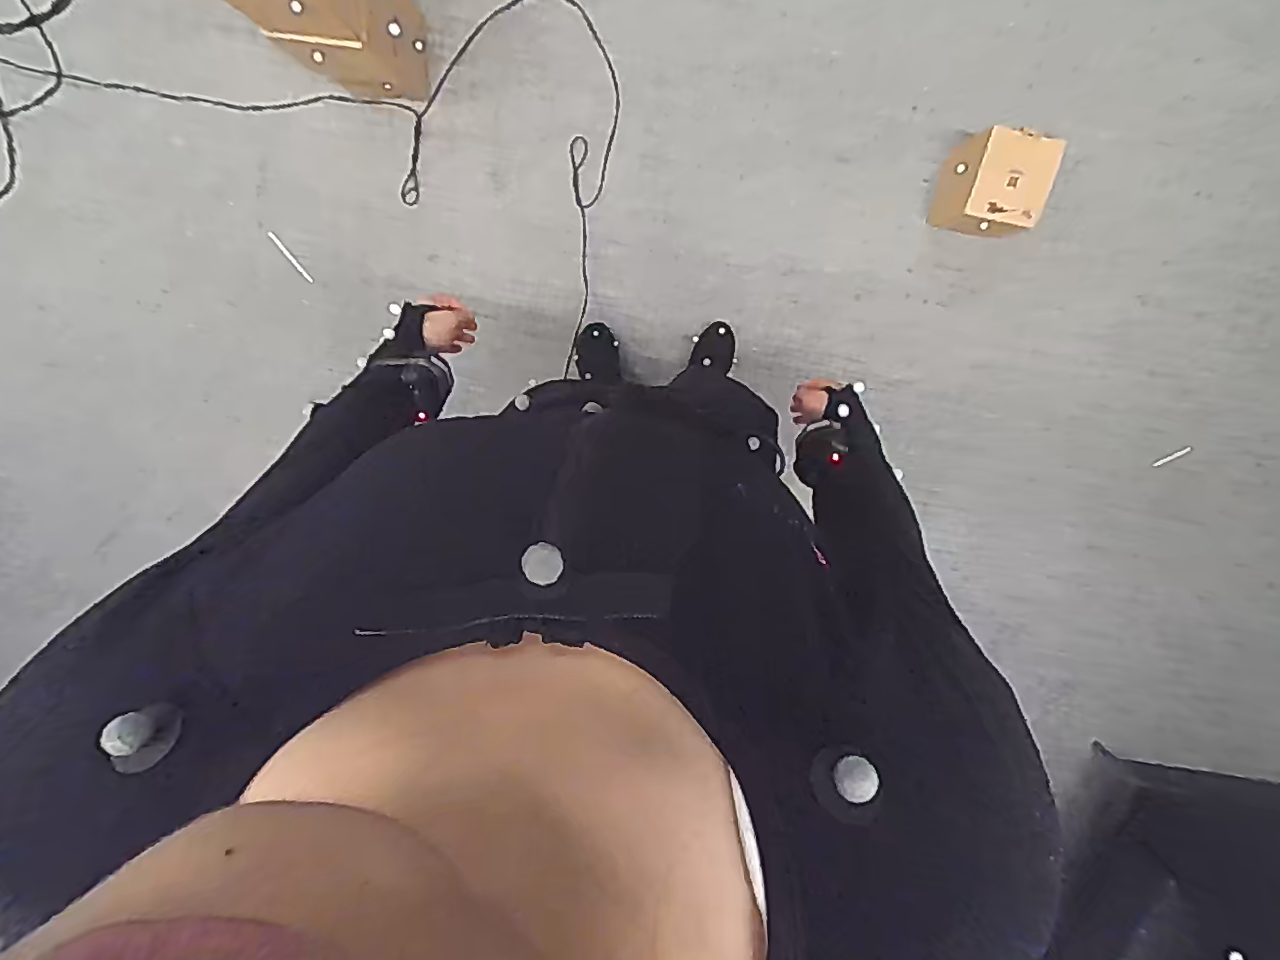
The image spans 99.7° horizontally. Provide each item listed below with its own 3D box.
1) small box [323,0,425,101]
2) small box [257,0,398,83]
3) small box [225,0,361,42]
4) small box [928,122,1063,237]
[{"bbox_3d":[-0.567,-0.923,1.136,0.179,0.176,0.168,2,107,0],"label":"small box"},{"bbox_3d":[-0.564,-0.856,0.986,0.179,0.176,0.168,5,108,-3],"label":"small box"},{"bbox_3d":[-0.558,-0.812,0.830,0.179,0.176,0.168,4,108,-3],"label":"small box"},{"bbox_3d":[0.790,-0.670,1.226,0.168,0.176,0.179,10,107,-4],"label":"small box"}]
